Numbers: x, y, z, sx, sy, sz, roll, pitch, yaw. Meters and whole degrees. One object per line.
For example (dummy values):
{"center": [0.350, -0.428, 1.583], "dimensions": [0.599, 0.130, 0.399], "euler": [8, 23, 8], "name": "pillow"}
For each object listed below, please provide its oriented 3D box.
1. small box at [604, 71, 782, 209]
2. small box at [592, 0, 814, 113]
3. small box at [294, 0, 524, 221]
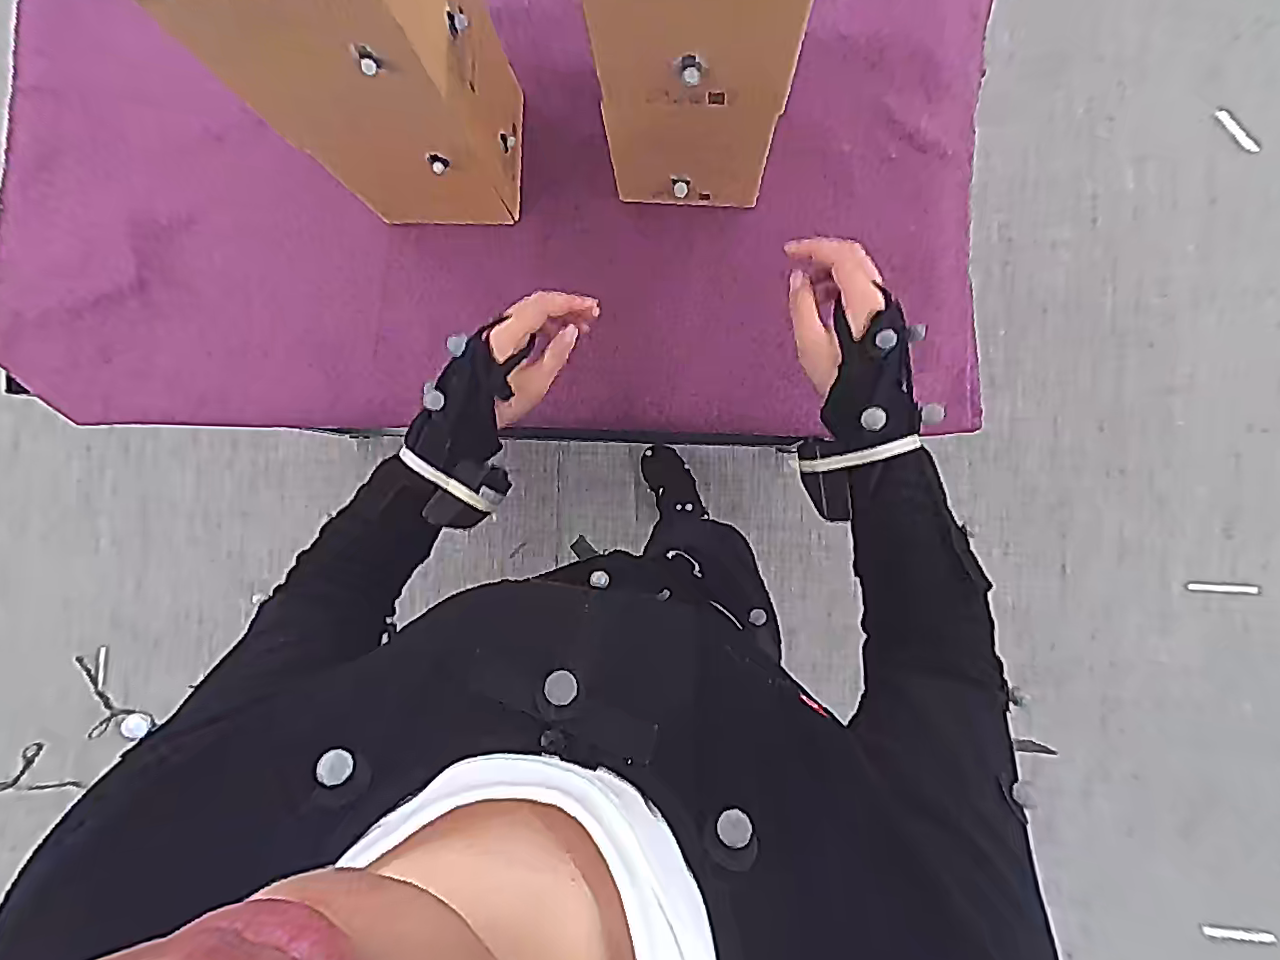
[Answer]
{"center": [0.061, -0.422, 0.576], "dimensions": [0.168, 0.176, 0.179], "euler": [5, 90, 5], "name": "small box"}
{"center": [0.051, -0.425, 0.411], "dimensions": [0.168, 0.176, 0.179], "euler": [5, 89, 5], "name": "small box"}
{"center": [-0.241, -0.408, 0.600], "dimensions": [0.179, 0.176, 0.168], "euler": [2, 89, 4], "name": "small box"}
